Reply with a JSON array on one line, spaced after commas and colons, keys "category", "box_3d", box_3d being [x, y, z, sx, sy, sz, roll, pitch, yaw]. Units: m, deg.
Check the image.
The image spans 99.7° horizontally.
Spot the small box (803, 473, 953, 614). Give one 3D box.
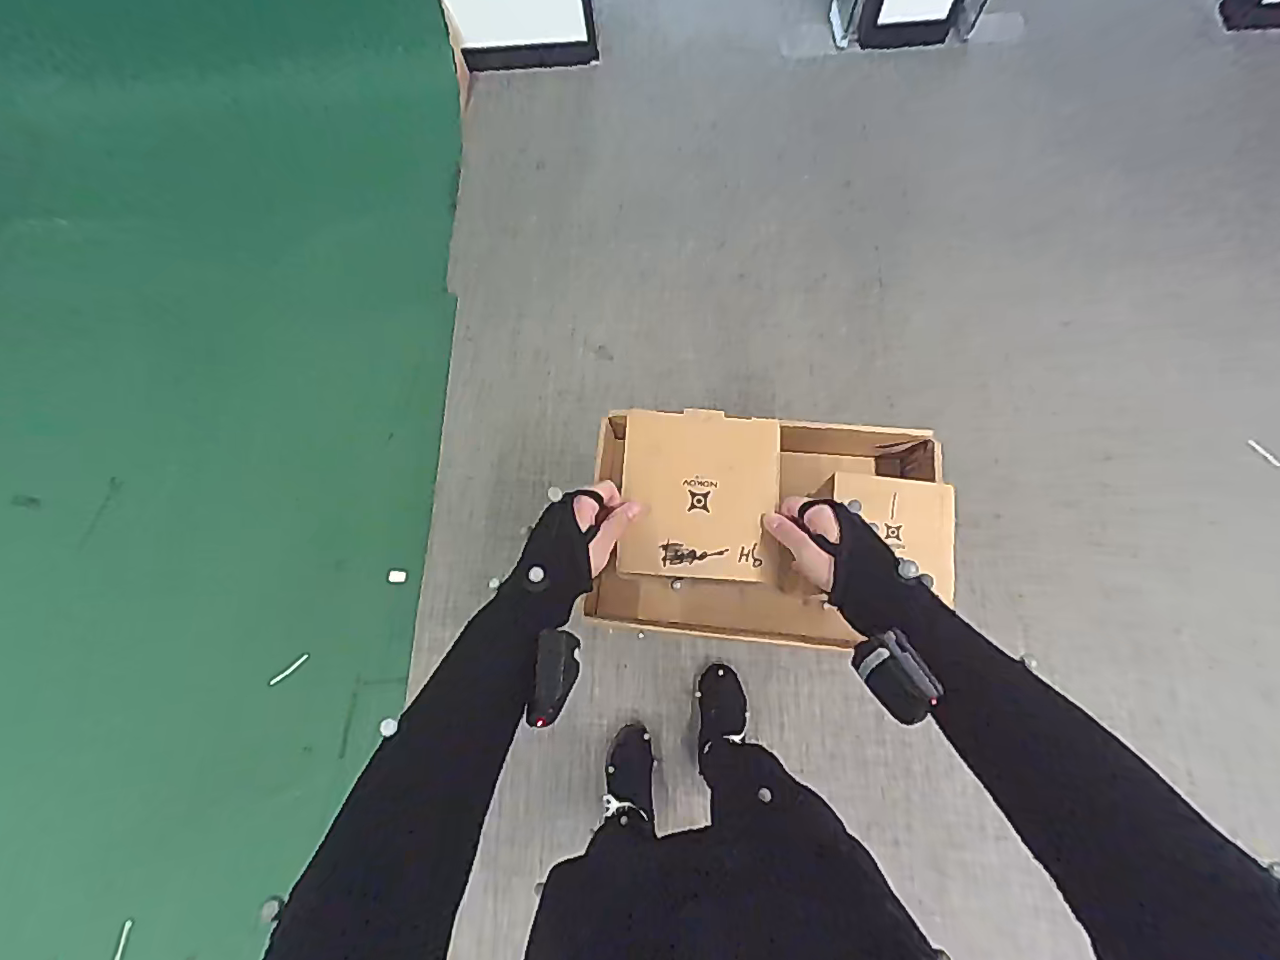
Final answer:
[{"category": "small box", "box_3d": [0.349, 0.104, 0.819, 0.168, 0.176, 0.179, 7, 75, 7]}]

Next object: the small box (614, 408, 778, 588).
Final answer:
[{"category": "small box", "box_3d": [0.059, 0.031, 0.642, 0.168, 0.176, 0.179, 4, 78, 0]}]
